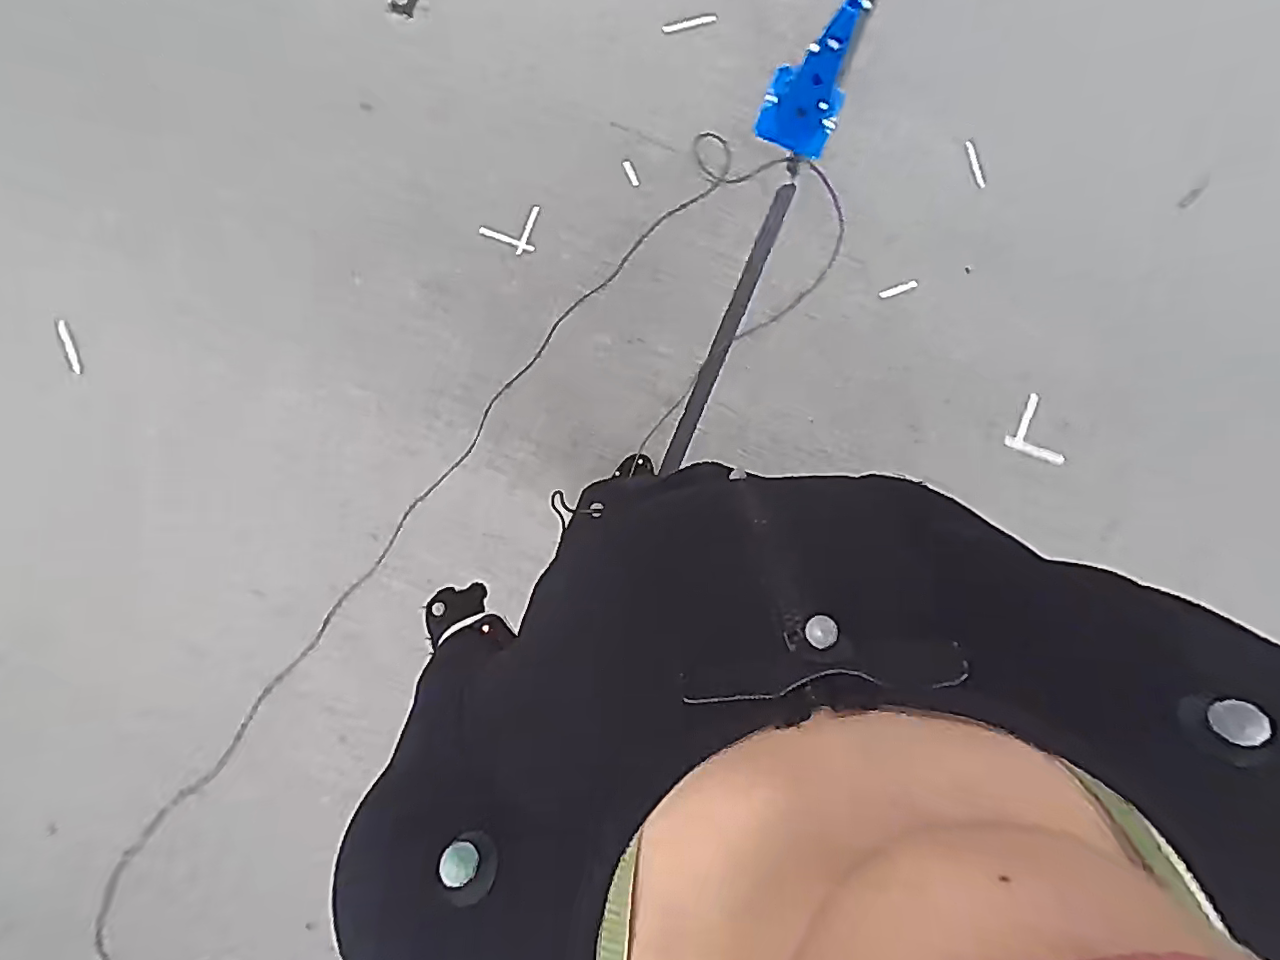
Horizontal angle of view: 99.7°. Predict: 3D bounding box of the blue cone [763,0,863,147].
[{"bbox_3d":[0.435,-0.981,1.264,0.193,0.380,0.192,22,92,-1],"label":"blue cone"}]
